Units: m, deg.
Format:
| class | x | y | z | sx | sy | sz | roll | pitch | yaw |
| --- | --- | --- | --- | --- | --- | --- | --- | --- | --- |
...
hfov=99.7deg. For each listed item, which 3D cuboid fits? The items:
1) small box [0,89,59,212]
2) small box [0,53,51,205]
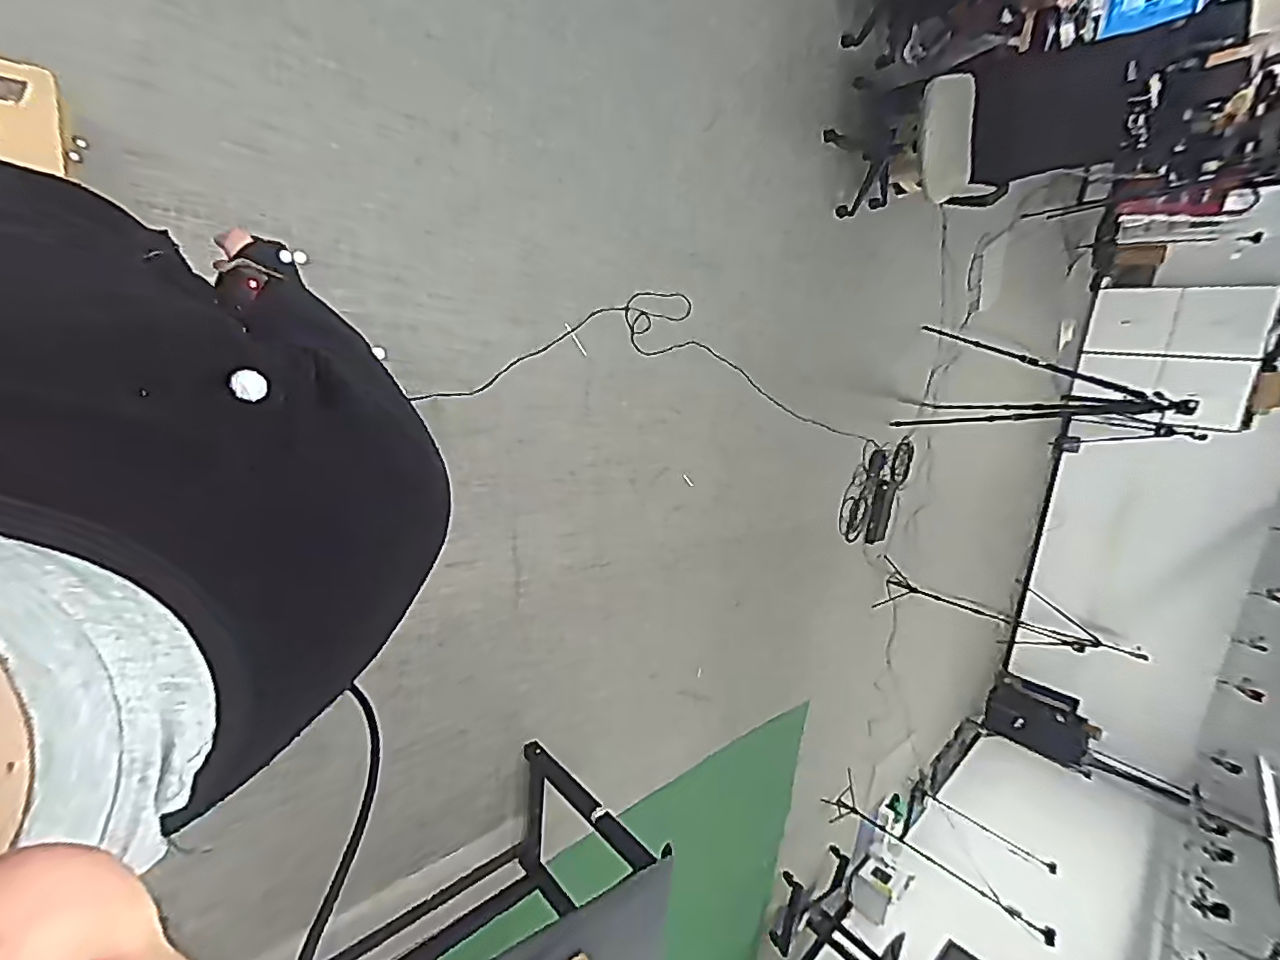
| class | x | y | z | sx | sy | sz | roll | pitch | yaw |
| --- | --- | --- | --- | --- | --- | --- | --- | --- | --- |
| small box | -1.100 | -0.567 | 0.901 | 0.168 | 0.176 | 0.179 | -6 | 108 | -43 |
| small box | -0.991 | -0.523 | 0.786 | 0.168 | 0.176 | 0.179 | -6 | 107 | -43 |
